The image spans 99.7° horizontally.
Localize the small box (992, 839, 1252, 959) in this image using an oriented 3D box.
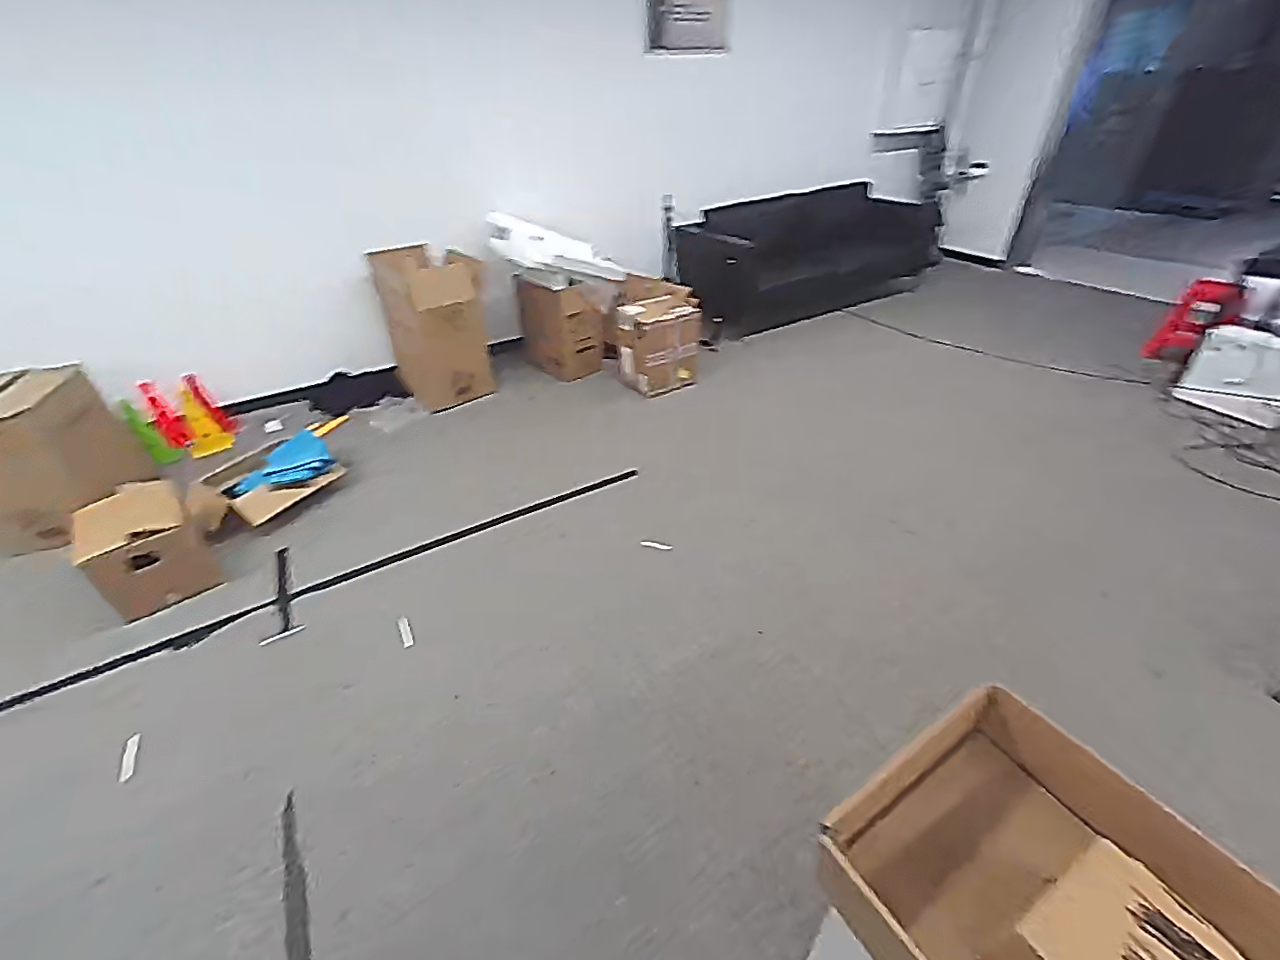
[{"bbox_3d":[0.557,0.577,0.635,0.179,0.176,0.168,-25,41,-19],"label":"small box"}]
